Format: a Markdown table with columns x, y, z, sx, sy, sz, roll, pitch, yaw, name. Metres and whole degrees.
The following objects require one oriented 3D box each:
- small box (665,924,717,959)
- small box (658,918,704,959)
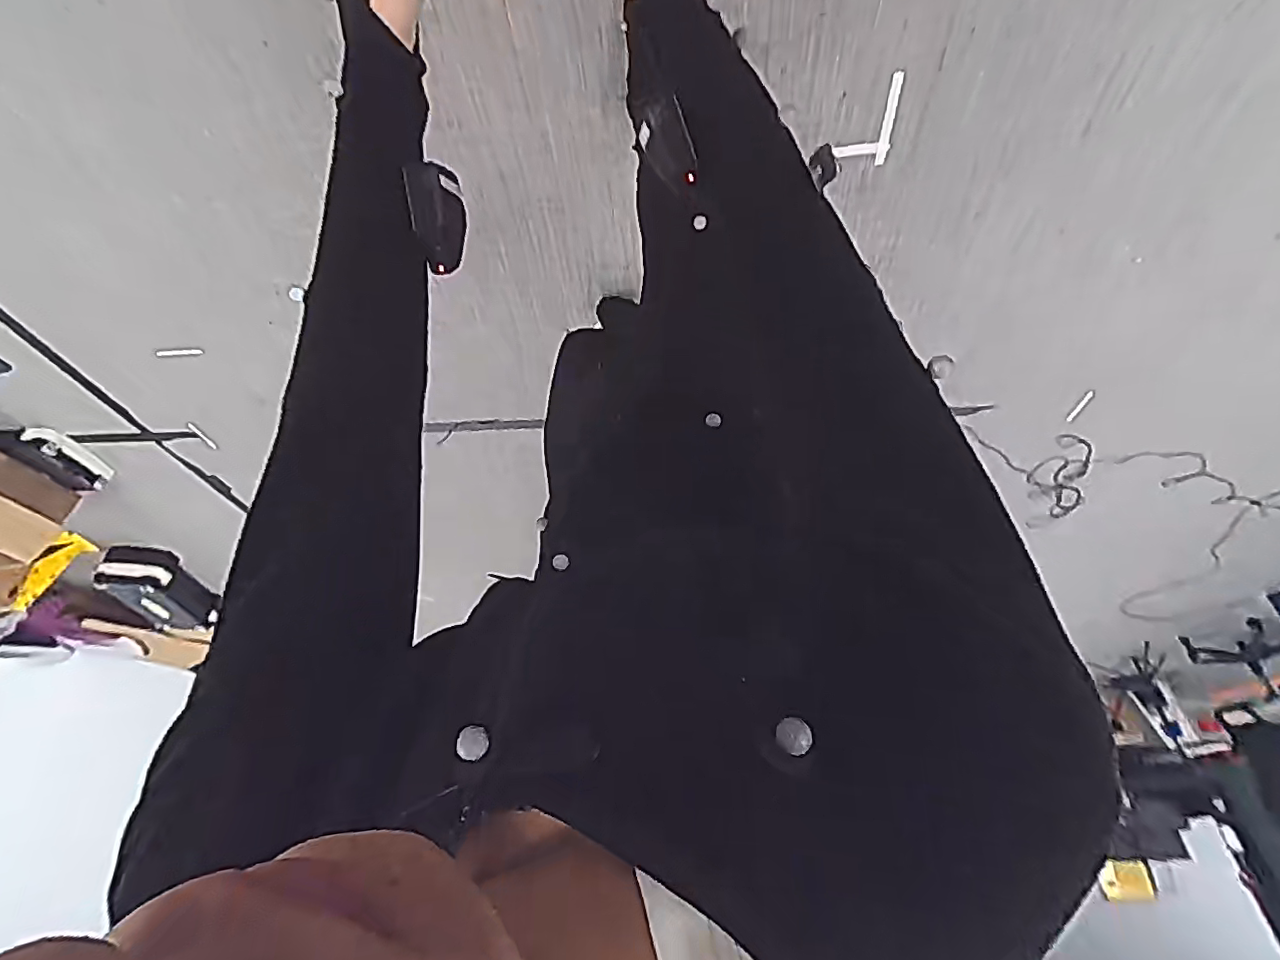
| x | y | z | sx | sy | sz | roll | pitch | yaw | name |
| --- | --- | --- | --- | --- | --- | --- | --- | --- | --- |
| 0.183 | 1.669 | 1.895 | 0.168 | 0.176 | 0.179 | -7 | 144 | 10 | small box |
| 0.156 | 1.794 | 2.073 | 0.179 | 0.176 | 0.168 | -1 | 145 | 3 | small box |
